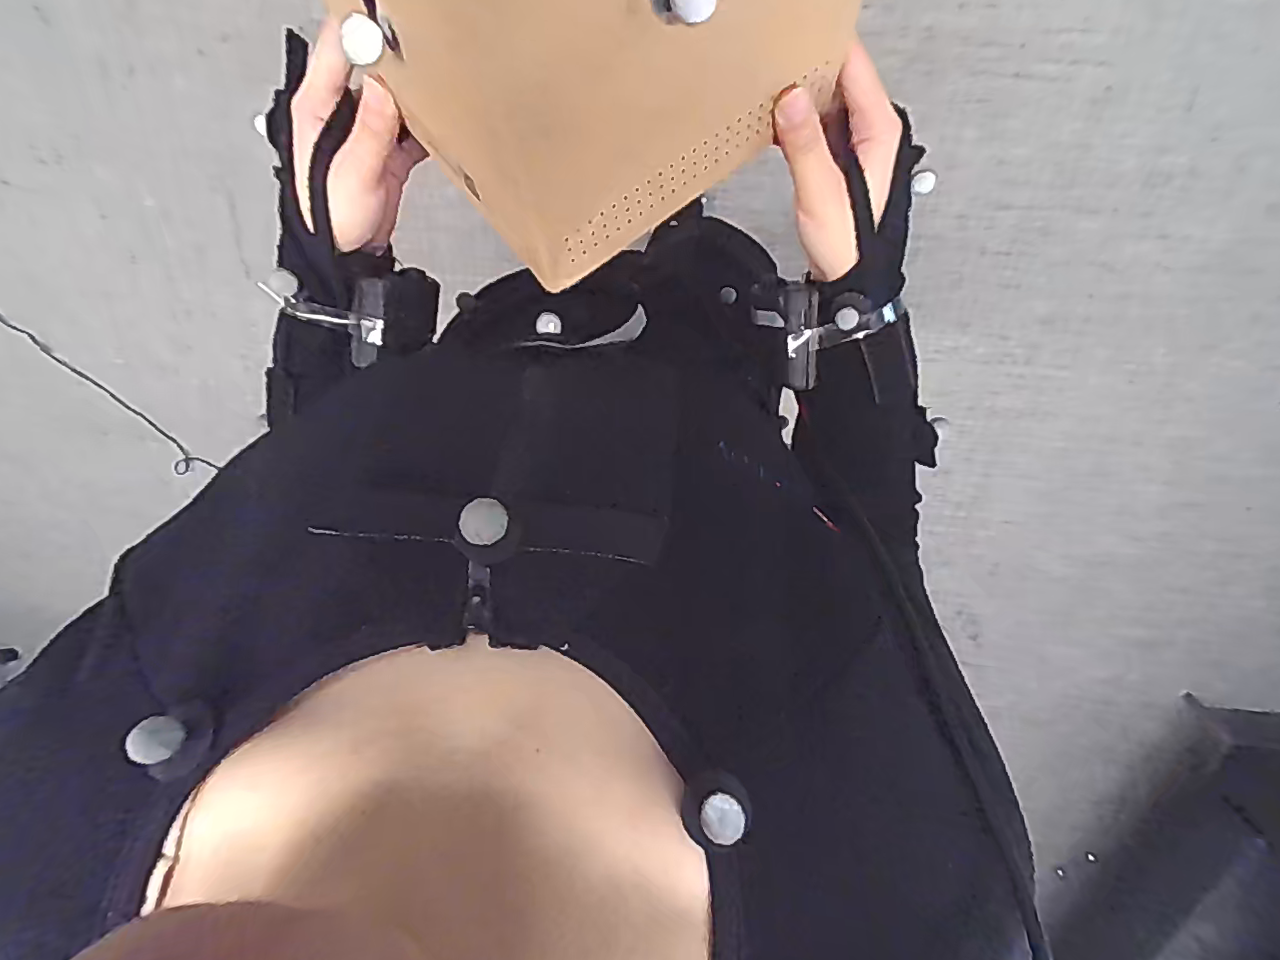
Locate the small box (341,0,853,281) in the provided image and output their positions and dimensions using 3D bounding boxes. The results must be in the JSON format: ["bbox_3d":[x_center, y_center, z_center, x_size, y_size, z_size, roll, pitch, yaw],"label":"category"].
[{"bbox_3d":[-0.023,-0.215,0.203,0.179,0.176,0.168,-38,76,-7],"label":"small box"}]
